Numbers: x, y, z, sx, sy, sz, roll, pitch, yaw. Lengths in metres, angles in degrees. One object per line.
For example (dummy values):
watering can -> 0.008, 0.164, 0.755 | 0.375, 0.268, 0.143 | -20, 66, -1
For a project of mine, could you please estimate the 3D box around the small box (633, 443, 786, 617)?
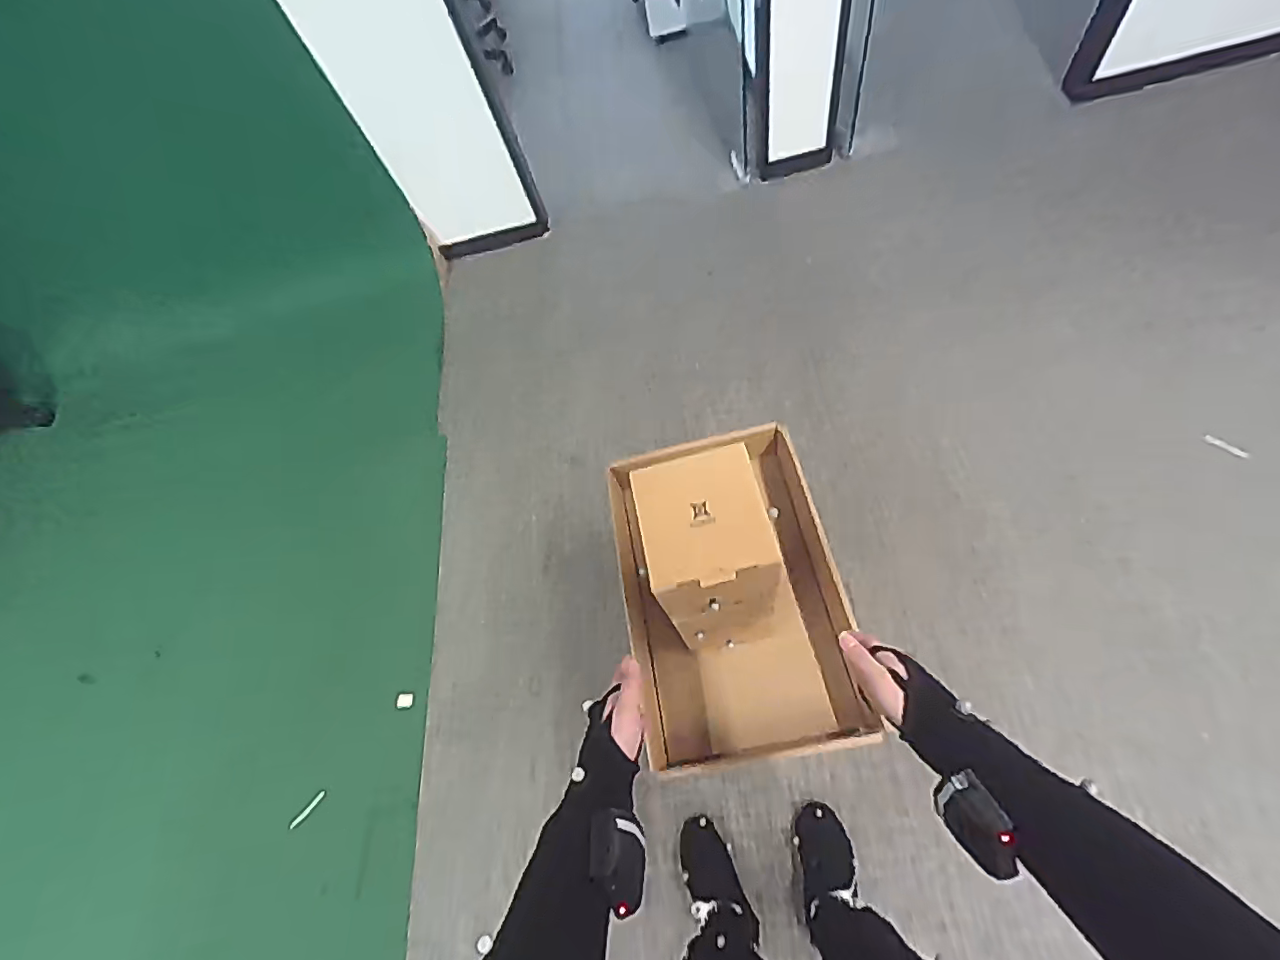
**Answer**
small box -> 0.096, 0.077, 0.766 | 0.168, 0.176, 0.179 | -15, 62, 4

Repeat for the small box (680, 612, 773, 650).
small box -> 0.156, 0.218, 1.053 | 0.168, 0.176, 0.179 | -13, 62, 6

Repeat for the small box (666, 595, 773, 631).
small box -> 0.124, 0.146, 0.910 | 0.168, 0.176, 0.179 | -15, 60, 5
